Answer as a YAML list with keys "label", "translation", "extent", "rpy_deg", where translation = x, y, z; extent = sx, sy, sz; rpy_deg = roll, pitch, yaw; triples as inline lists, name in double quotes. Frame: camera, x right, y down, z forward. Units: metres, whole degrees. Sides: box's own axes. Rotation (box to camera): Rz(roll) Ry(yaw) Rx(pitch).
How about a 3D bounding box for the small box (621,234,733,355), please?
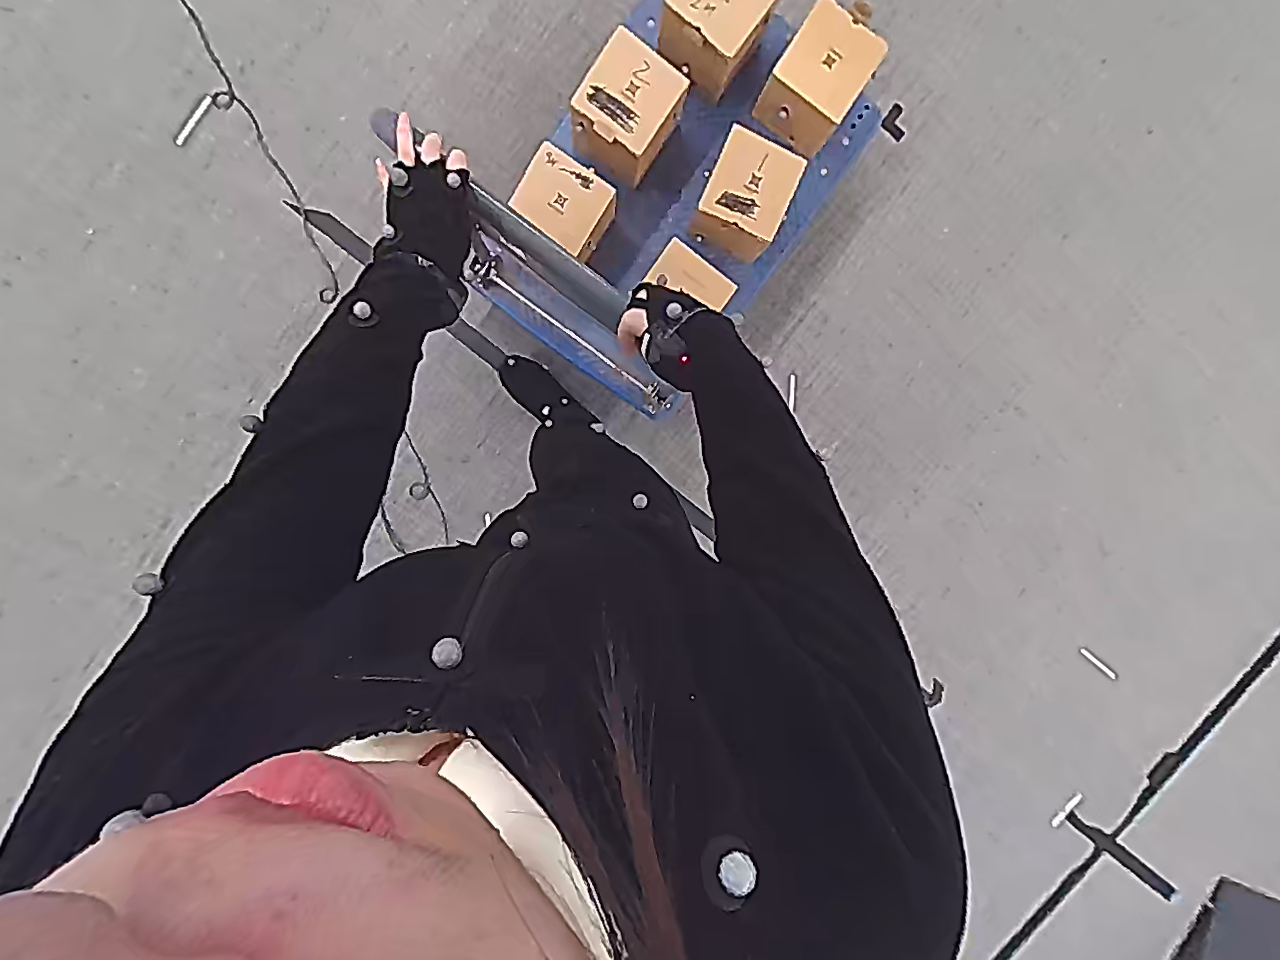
- label: "small box"
  translation: [0.073, -0.390, 1.177]
  extent: [0.168, 0.176, 0.179]
  rpy_deg: [36, 94, -9]

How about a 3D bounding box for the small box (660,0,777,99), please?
- label: "small box"
  translation: [0.154, -0.938, 1.097]
  extent: [0.168, 0.176, 0.179]
  rpy_deg: [38, 95, -8]

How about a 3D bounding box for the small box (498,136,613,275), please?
- label: "small box"
  translation: [-0.169, -0.559, 1.132]
  extent: [0.168, 0.176, 0.179]
  rpy_deg: [32, 95, -9]

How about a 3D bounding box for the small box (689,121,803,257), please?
- label: "small box"
  translation: [0.214, -0.605, 1.153]
  extent: [0.168, 0.176, 0.179]
  rpy_deg: [24, 95, -7]

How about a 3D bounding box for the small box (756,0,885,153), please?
- label: "small box"
  translation: [0.362, -0.833, 1.129]
  extent: [0.168, 0.176, 0.179]
  rpy_deg: [33, 95, -8]
